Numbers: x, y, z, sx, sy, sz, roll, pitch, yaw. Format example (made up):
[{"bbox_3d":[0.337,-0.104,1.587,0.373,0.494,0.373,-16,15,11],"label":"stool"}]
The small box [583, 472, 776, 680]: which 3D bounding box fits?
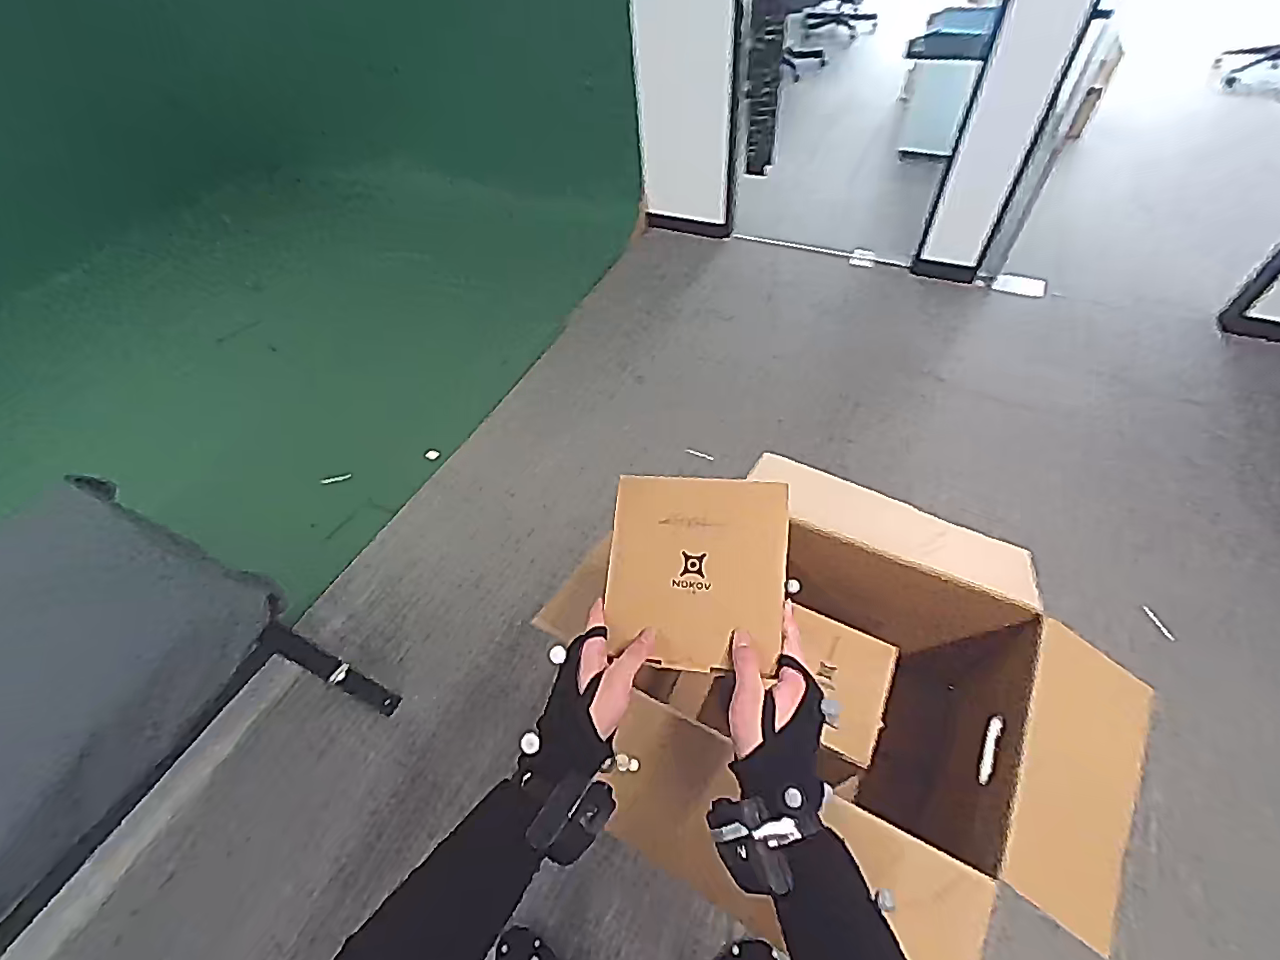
[{"bbox_3d":[0.053,0.100,0.562,0.168,0.176,0.179,2,75,14],"label":"small box"}]
